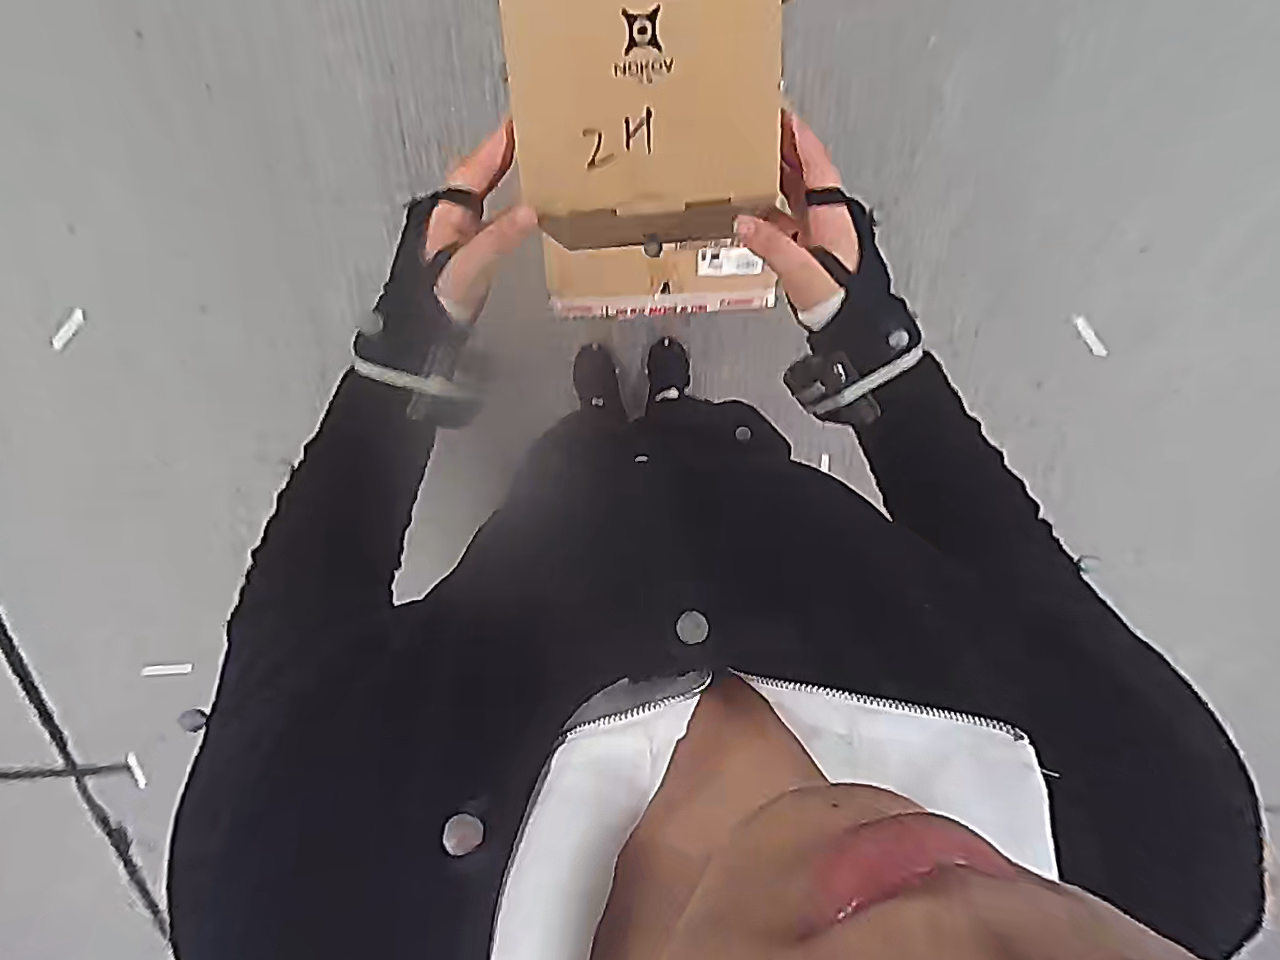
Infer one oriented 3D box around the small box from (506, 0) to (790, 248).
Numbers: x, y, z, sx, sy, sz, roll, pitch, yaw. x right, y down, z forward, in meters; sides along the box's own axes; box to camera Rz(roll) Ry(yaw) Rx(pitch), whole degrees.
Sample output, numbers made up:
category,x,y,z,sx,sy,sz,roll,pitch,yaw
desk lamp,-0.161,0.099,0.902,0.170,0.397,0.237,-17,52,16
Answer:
category,x,y,z,sx,sy,sz,roll,pitch,yaw
small box,0.009,-0.277,0.392,0.168,0.176,0.179,-3,108,4
